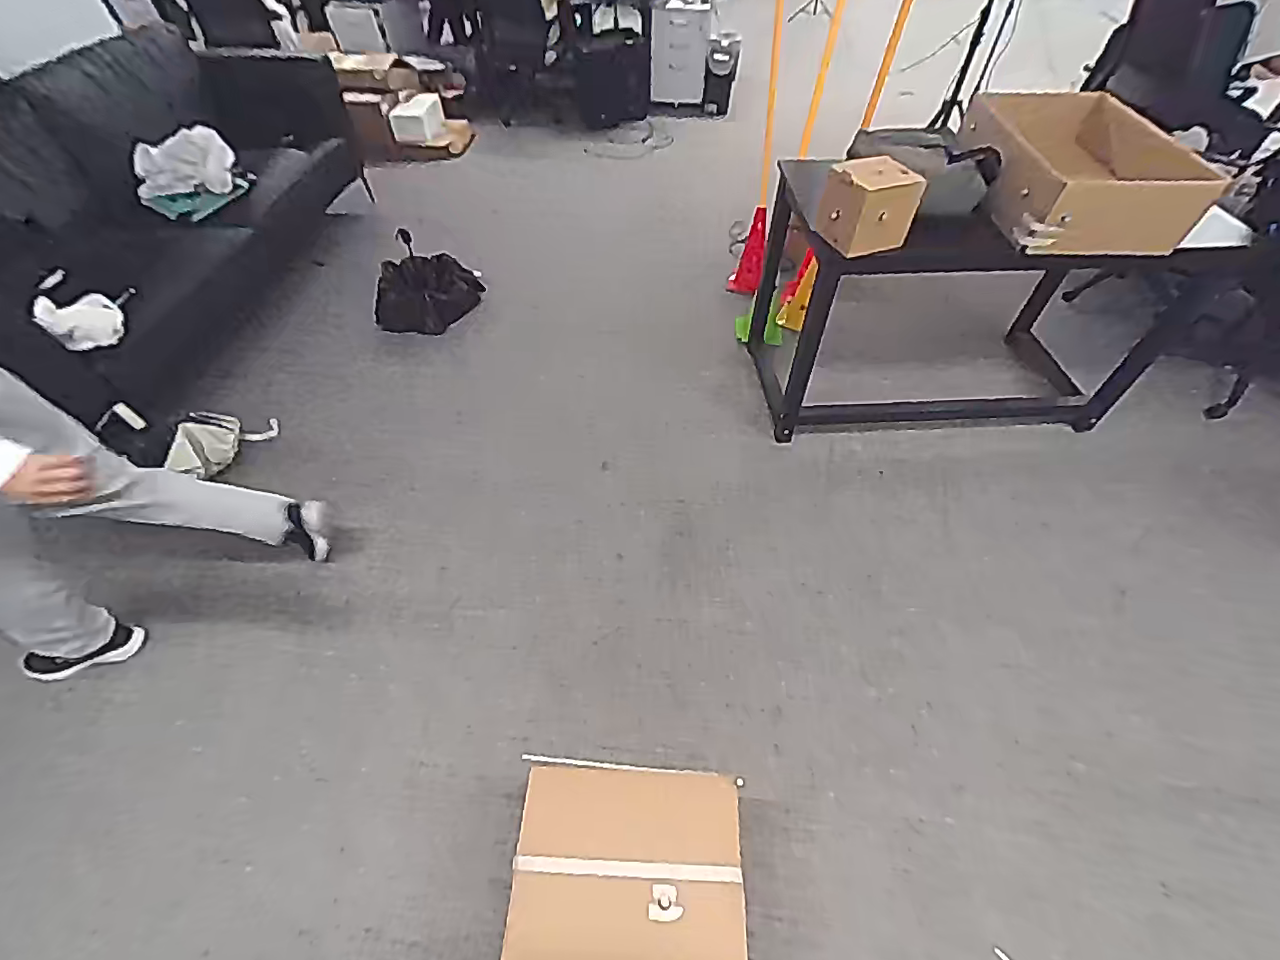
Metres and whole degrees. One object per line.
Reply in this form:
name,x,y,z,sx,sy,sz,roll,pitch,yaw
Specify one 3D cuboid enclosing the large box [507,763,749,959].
large box,-0.017,0.775,1.077,0.408,0.320,0.320,2,52,2
